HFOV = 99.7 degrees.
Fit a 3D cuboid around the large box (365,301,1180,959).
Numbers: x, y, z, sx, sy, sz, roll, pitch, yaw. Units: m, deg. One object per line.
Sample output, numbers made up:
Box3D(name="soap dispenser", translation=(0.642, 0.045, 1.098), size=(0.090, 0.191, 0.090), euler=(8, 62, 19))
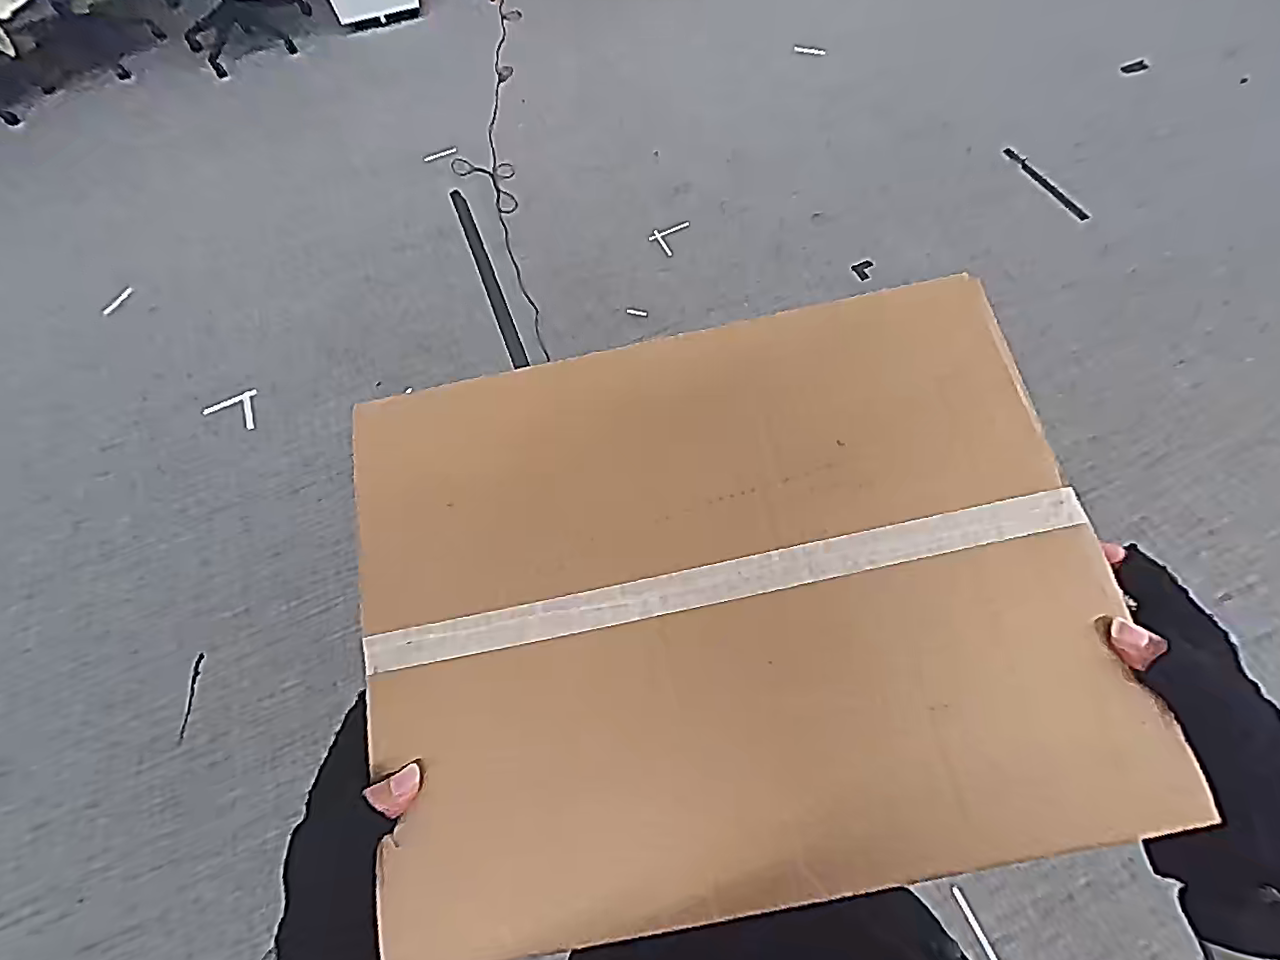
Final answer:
Box3D(name="large box", translation=(0.057, 0.109, 0.451), size=(0.408, 0.320, 0.320), euler=(-12, 73, 1))
